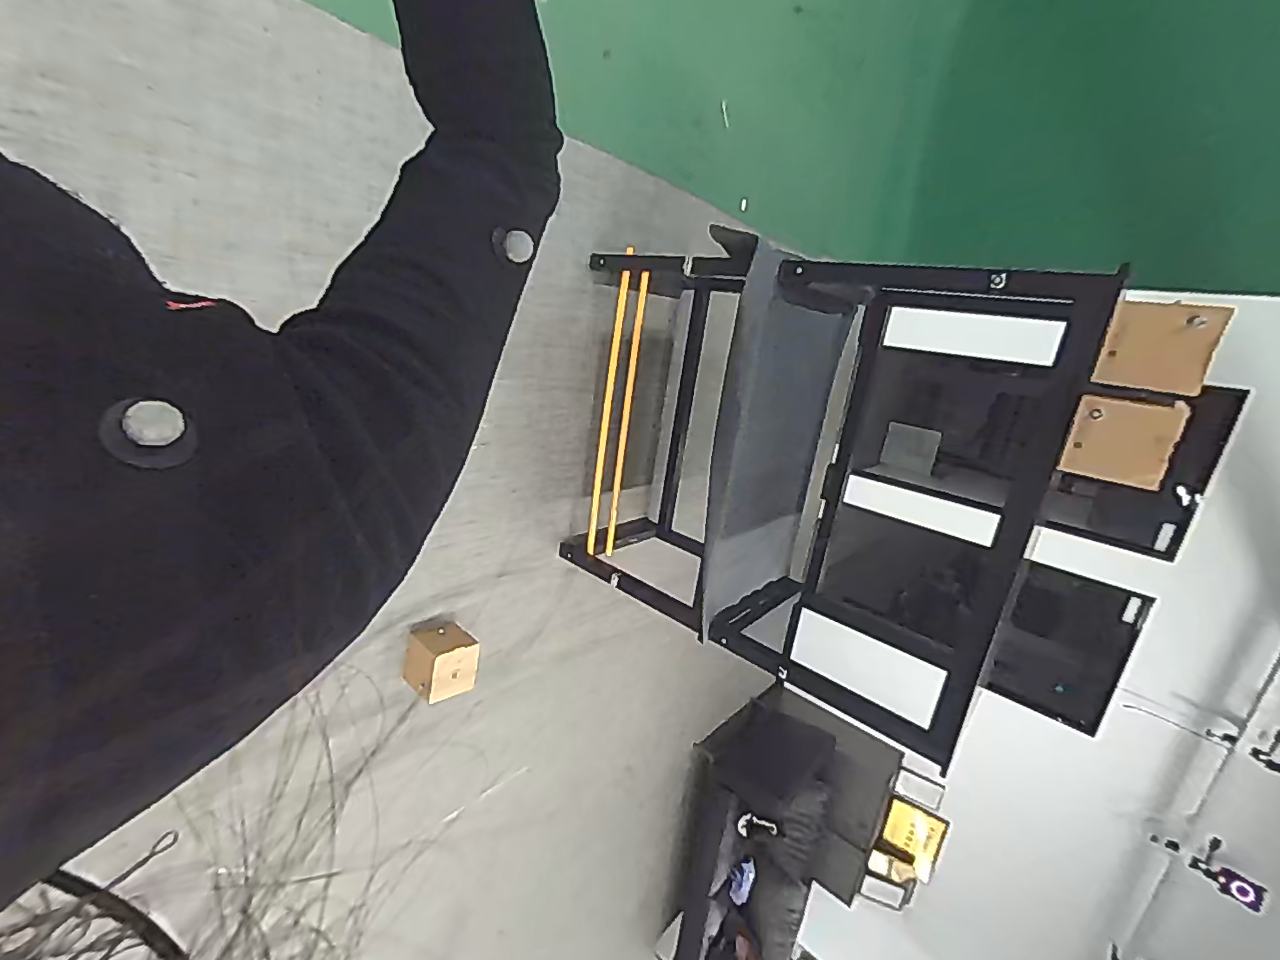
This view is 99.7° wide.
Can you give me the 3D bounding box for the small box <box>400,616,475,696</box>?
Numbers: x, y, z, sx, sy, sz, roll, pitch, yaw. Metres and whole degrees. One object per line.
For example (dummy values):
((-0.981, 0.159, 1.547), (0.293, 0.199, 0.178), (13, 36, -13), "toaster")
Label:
((-0.681, 0.583, 1.812), (0.168, 0.176, 0.179), (-2, 108, -51), "small box")
